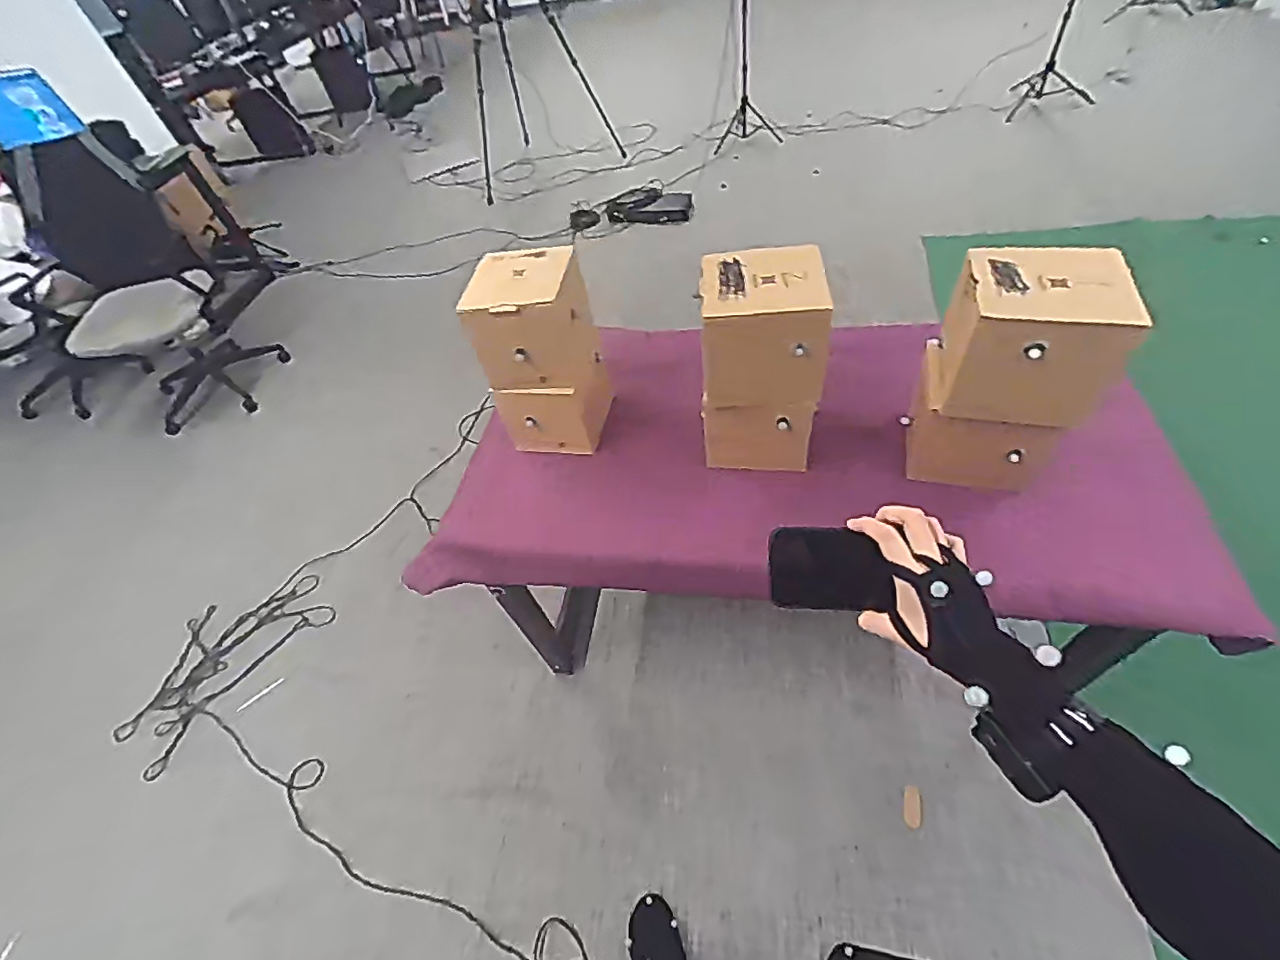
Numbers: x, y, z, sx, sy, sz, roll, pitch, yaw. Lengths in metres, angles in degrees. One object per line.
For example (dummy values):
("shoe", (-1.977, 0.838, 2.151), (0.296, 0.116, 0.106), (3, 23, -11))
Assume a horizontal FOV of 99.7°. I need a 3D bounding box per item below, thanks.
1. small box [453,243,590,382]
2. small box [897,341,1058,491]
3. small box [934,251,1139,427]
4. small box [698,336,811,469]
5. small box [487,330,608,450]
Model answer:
("small box", (-0.193, -0.284, 0.944), (0.168, 0.176, 0.179), (1, 52, 10))
("small box", (0.532, -0.101, 0.873), (0.179, 0.176, 0.168), (9, 53, 18))
("small box", (0.513, -0.190, 0.736), (0.179, 0.176, 0.168), (9, 53, 17))
("small box", (0.204, -0.135, 0.960), (0.179, 0.176, 0.168), (4, 52, 14))
("small box", (-0.170, -0.176, 1.066), (0.168, 0.176, 0.179), (4, 52, 14))
